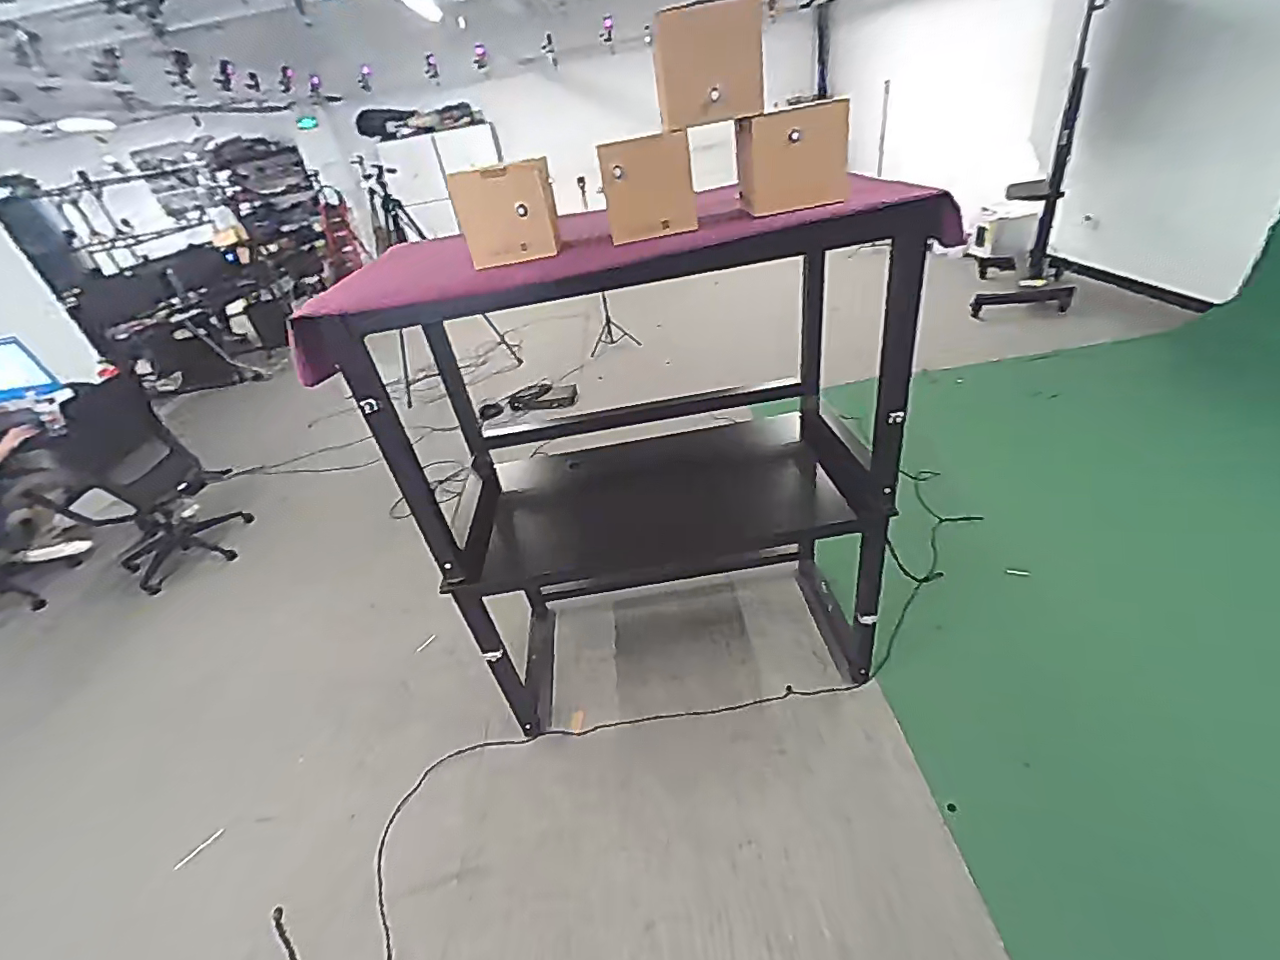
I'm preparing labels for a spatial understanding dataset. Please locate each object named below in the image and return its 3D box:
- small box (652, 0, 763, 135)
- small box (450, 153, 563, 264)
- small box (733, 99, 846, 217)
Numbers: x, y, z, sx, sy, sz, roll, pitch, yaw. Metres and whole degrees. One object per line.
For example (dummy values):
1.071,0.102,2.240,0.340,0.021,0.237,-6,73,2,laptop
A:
0.120,-0.741,0.981,0.179,0.176,0.168,-8,33,3,small box
-0.254,-0.539,1.079,0.168,0.176,0.179,-8,33,2,small box
0.291,-0.631,1.067,0.179,0.176,0.168,-9,33,2,small box
